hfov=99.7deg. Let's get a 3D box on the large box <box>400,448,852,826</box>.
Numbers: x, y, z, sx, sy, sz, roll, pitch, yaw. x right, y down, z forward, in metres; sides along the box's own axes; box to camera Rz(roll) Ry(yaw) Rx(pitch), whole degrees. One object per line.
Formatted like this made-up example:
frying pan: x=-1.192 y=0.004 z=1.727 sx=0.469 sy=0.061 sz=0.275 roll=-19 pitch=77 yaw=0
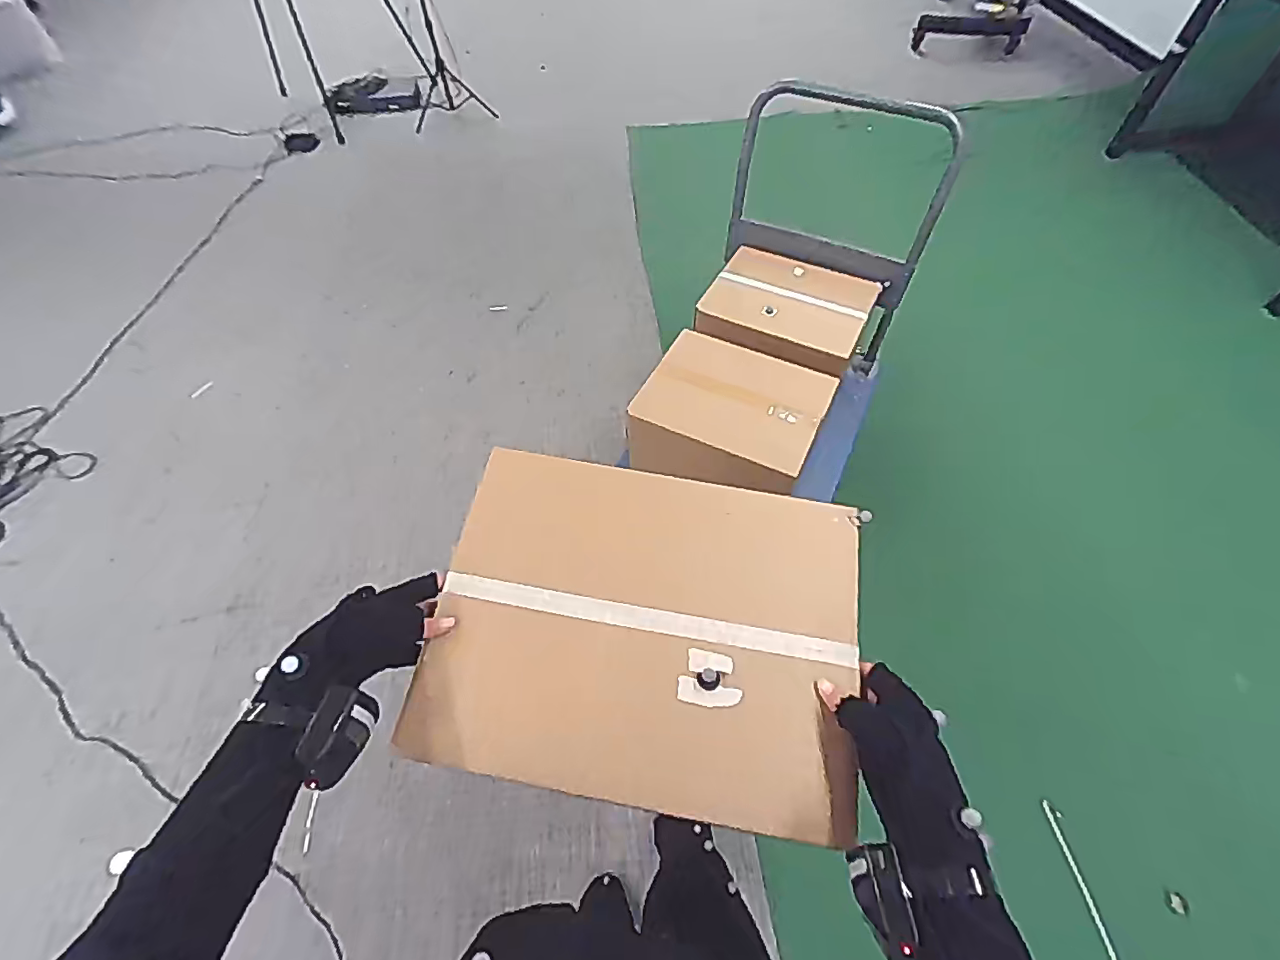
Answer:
large box: x=0.002 y=0.195 z=0.663 sx=0.408 sy=0.320 sz=0.320 roll=10 pitch=63 yaw=3
